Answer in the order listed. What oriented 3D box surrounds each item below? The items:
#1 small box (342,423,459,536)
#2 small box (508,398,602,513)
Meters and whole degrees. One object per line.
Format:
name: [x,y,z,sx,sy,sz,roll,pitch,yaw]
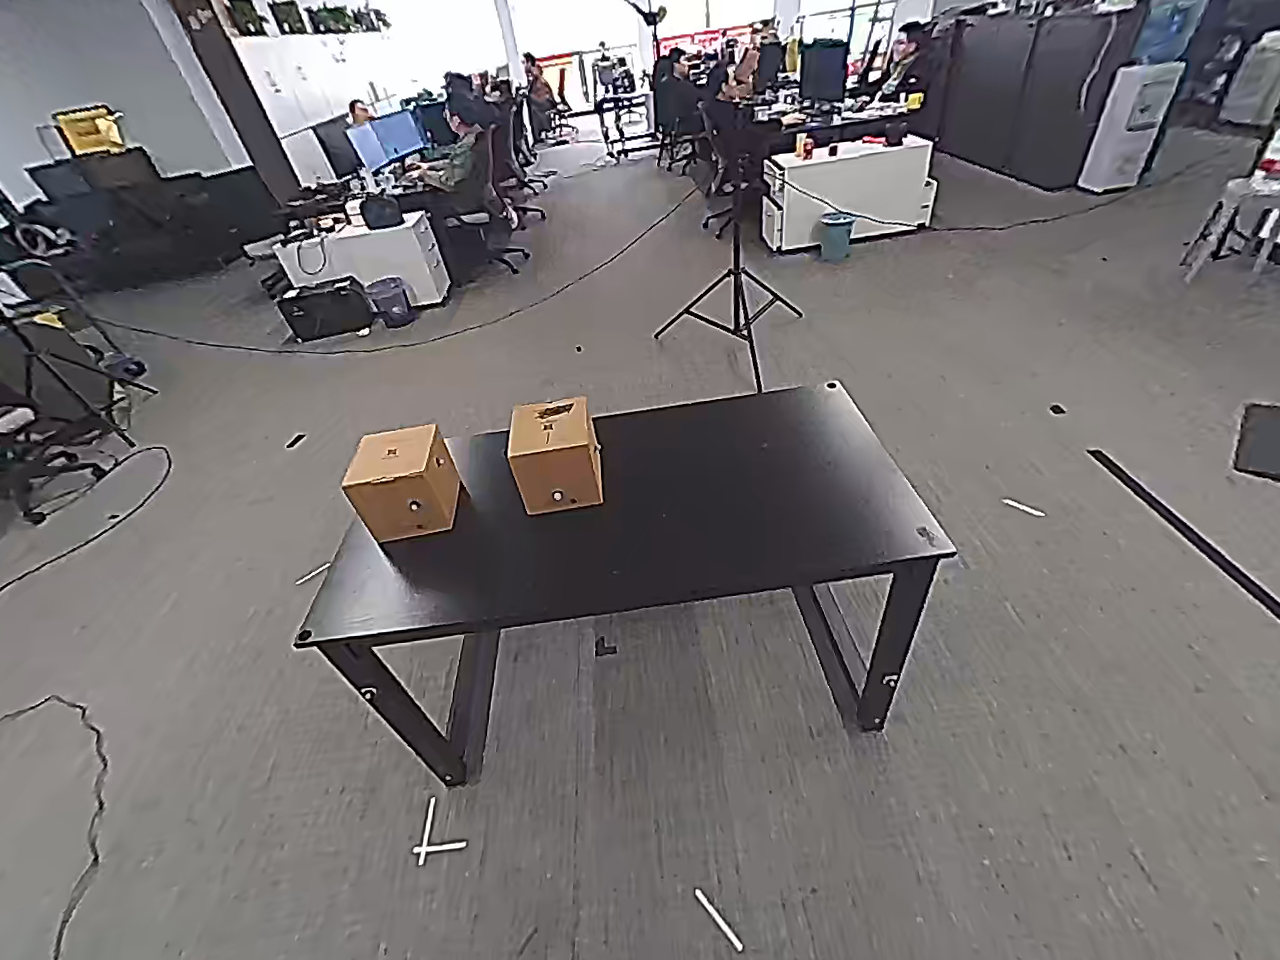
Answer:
small box: [-0.505,0.004,1.170,0.168,0.176,0.179,-10,39,-2]
small box: [-0.177,-0.053,1.174,0.168,0.176,0.179,-9,41,1]
